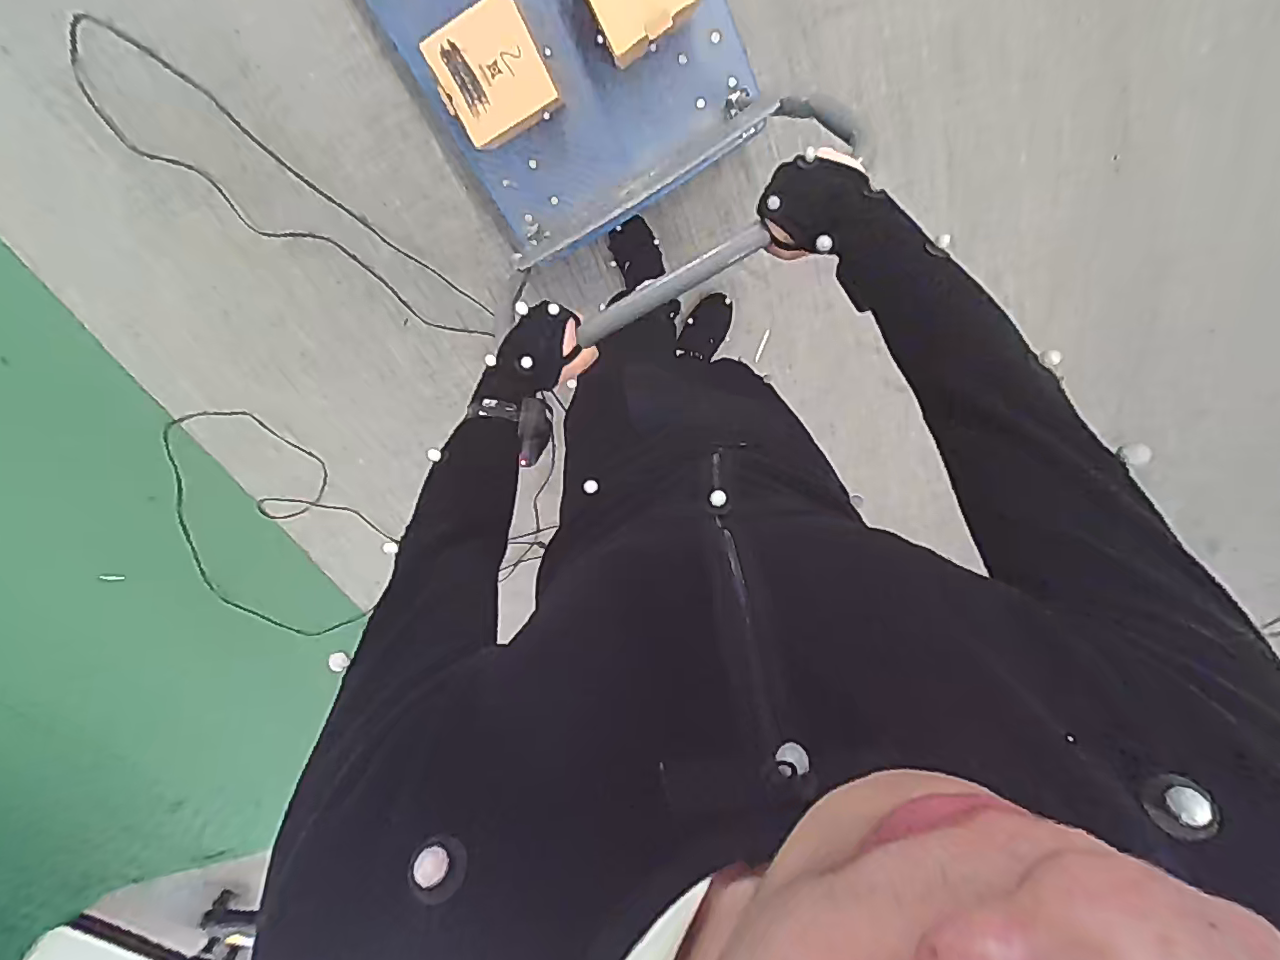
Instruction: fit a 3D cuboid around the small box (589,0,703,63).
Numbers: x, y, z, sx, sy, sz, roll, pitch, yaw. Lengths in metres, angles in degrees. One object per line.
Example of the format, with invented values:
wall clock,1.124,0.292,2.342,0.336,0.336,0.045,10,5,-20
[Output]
small box,-0.007,-0.846,0.909,0.168,0.176,0.179,-27,120,15
